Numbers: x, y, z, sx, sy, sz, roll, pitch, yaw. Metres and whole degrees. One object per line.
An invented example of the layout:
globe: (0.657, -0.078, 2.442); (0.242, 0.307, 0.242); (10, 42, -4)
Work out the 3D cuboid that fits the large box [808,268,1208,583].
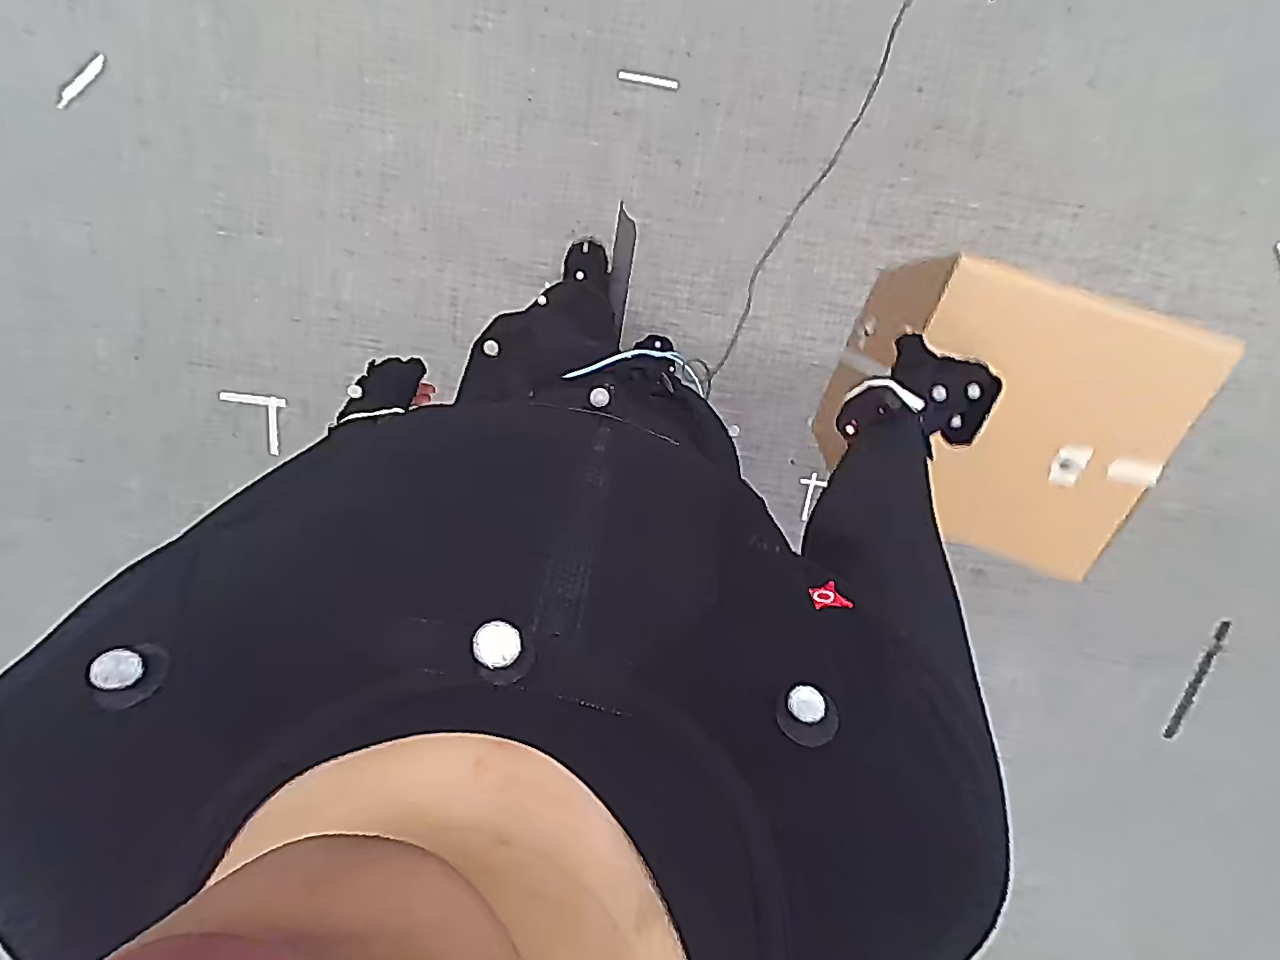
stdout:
large box: (0.485, -0.103, 0.836); (0.320, 0.408, 0.320); (24, 110, 5)
